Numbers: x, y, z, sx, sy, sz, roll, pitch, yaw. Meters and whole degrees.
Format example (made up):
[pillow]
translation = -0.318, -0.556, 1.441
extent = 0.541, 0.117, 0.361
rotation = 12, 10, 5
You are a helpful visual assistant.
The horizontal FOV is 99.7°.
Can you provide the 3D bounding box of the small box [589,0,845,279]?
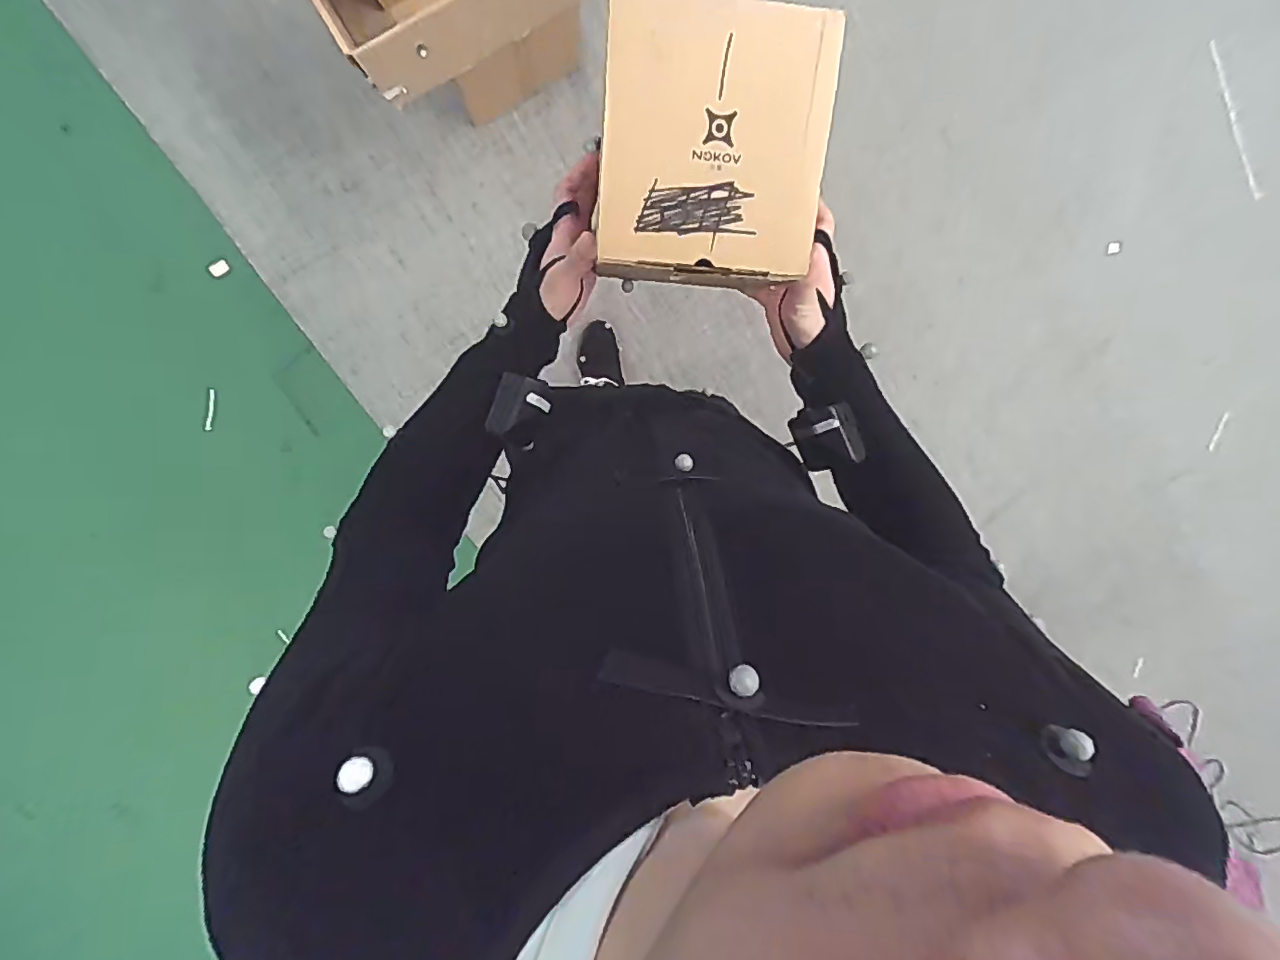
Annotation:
[small box]
translation = 0.047, -0.273, 0.459
extent = 0.168, 0.176, 0.179
rotation = 4, 106, -5
